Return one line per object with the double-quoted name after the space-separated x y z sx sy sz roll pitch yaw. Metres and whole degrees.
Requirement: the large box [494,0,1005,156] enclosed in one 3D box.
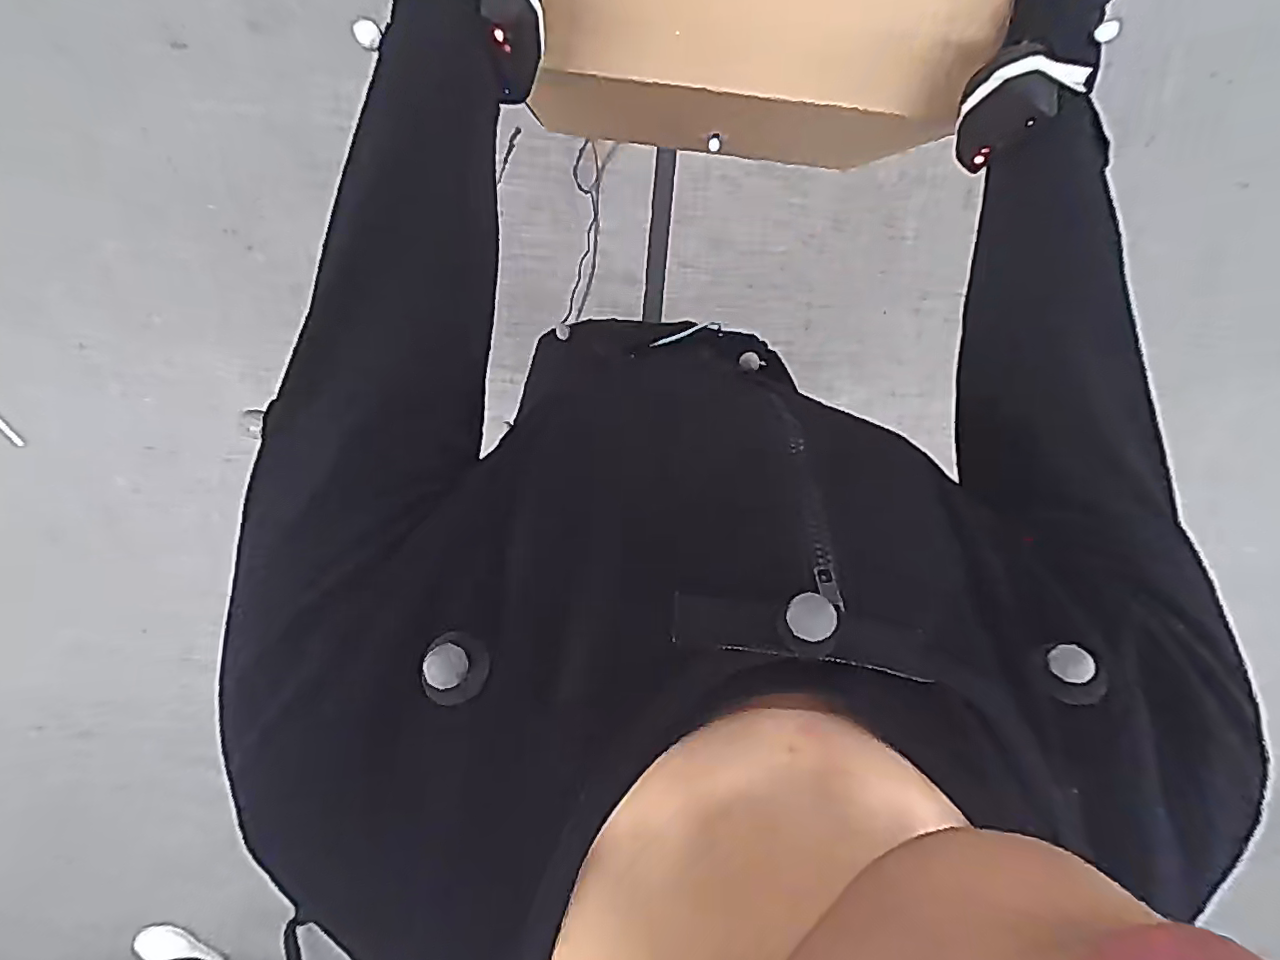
0.097 -0.522 0.518 0.408 0.320 0.320 6 113 -3 "large box"
